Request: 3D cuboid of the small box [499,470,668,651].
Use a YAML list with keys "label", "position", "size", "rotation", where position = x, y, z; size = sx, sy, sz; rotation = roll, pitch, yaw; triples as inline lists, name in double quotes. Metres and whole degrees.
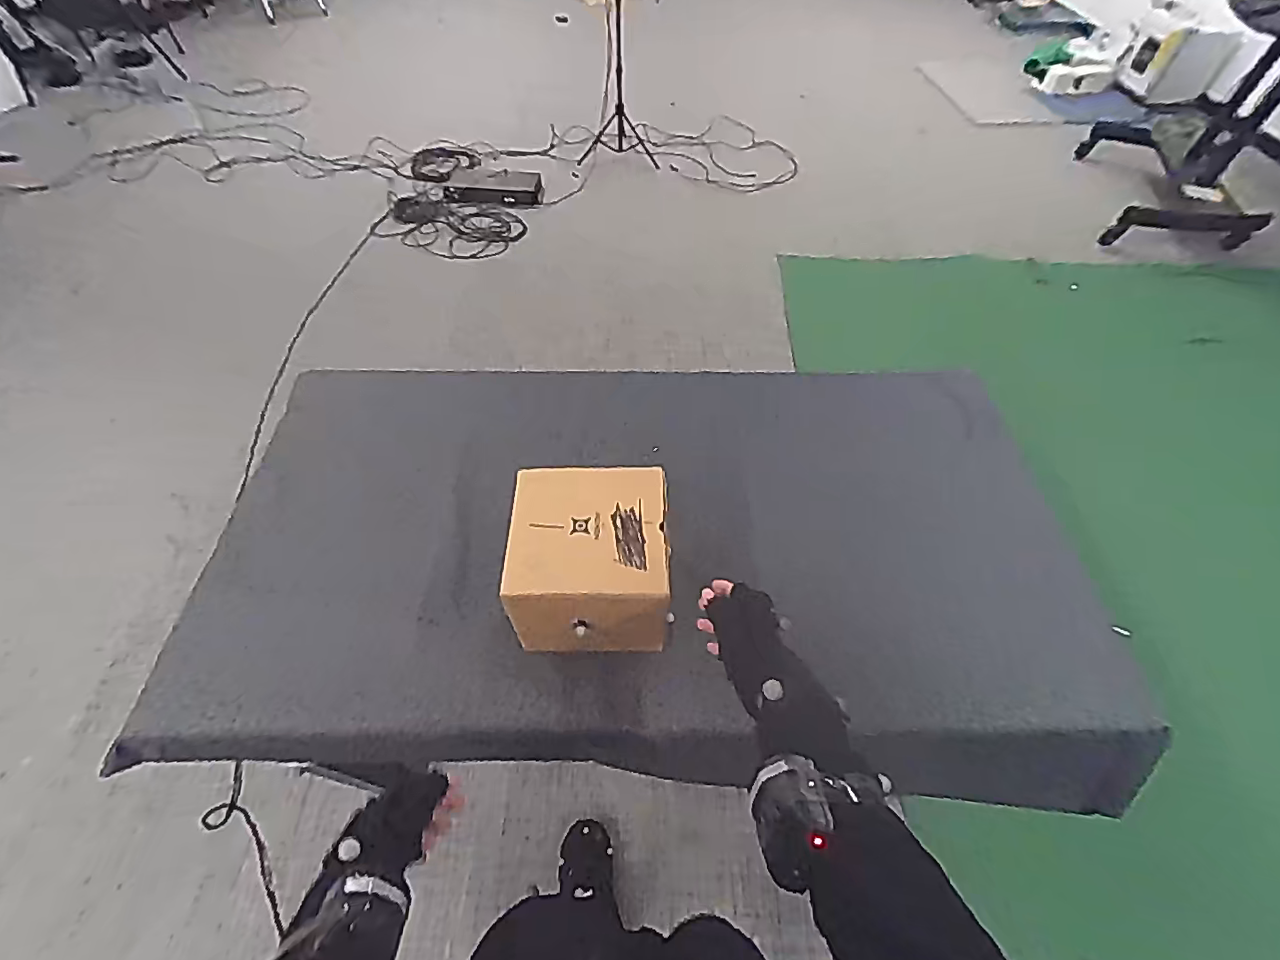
- label: "small box"
  position: [-0.059, 0.103, 0.666]
  size: [0.179, 0.176, 0.168]
  rotation: [-1, 53, 0]
